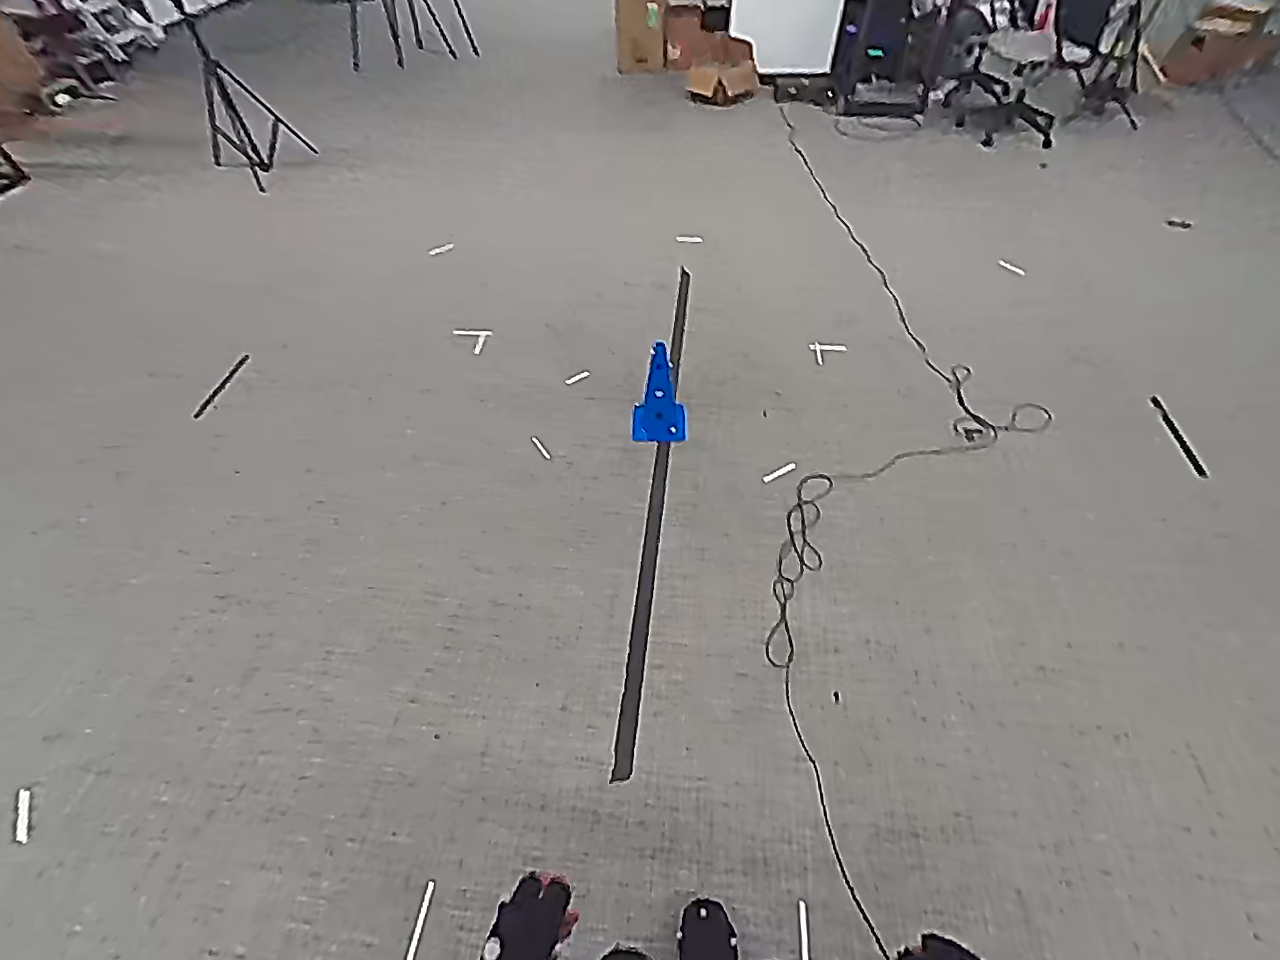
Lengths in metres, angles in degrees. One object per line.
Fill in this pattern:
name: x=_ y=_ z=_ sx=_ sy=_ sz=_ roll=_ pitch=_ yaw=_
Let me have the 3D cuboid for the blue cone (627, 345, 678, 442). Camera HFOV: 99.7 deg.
blue cone: x=0.043 y=-0.317 z=1.922 sx=0.192 sy=0.380 sz=0.193 roll=1 pitch=50 yaw=3
